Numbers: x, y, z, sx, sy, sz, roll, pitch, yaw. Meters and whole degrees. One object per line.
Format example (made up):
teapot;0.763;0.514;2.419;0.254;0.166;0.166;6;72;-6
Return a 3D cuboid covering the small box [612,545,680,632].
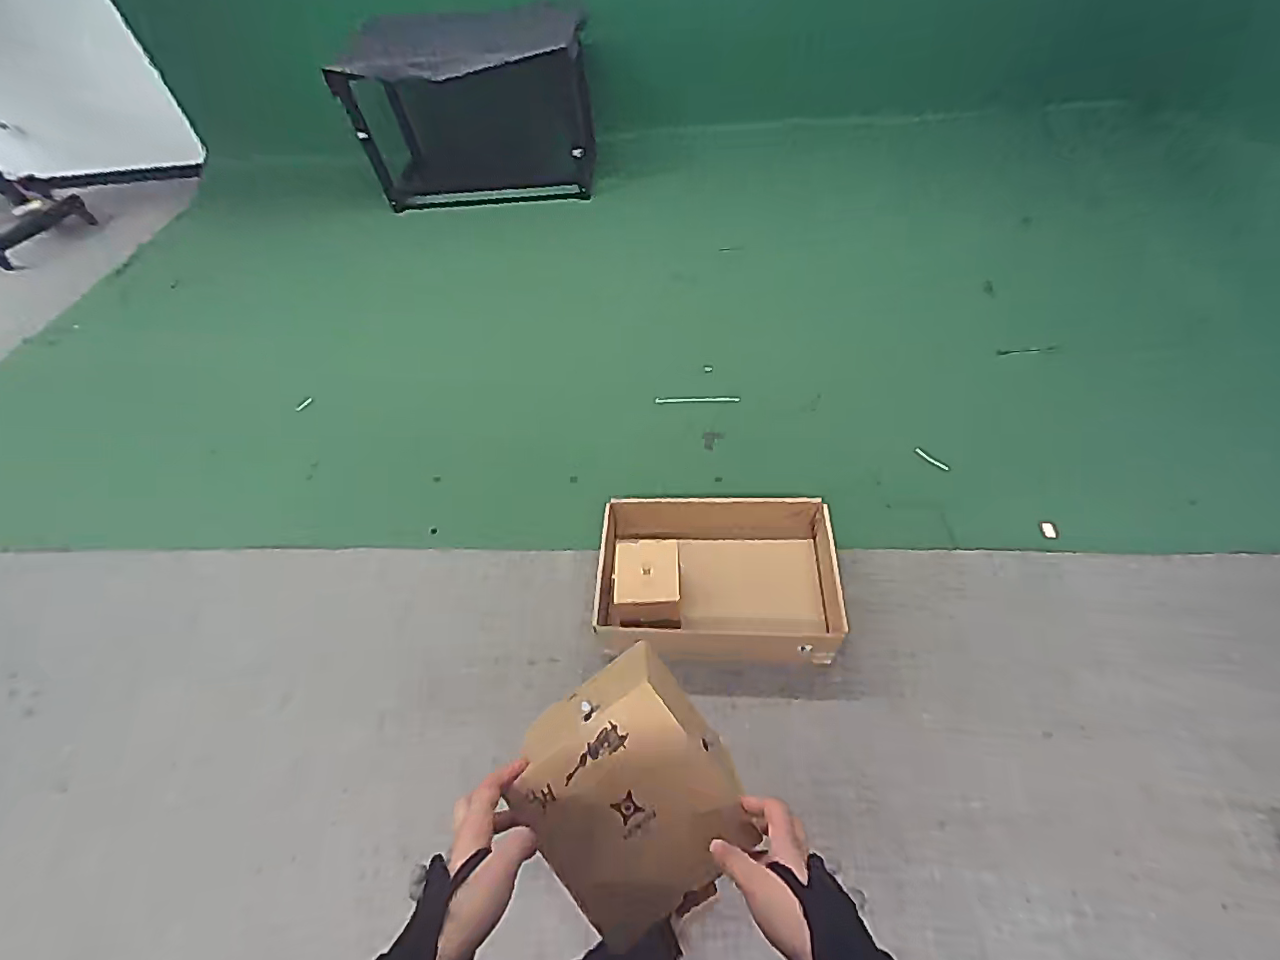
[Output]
small box;0.020;0.290;1.438;0.168;0.176;0.179;-3;53;4

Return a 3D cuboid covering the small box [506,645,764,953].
small box;-0.005;0.300;0.554;0.168;0.176;0.179;-37;88;-3
